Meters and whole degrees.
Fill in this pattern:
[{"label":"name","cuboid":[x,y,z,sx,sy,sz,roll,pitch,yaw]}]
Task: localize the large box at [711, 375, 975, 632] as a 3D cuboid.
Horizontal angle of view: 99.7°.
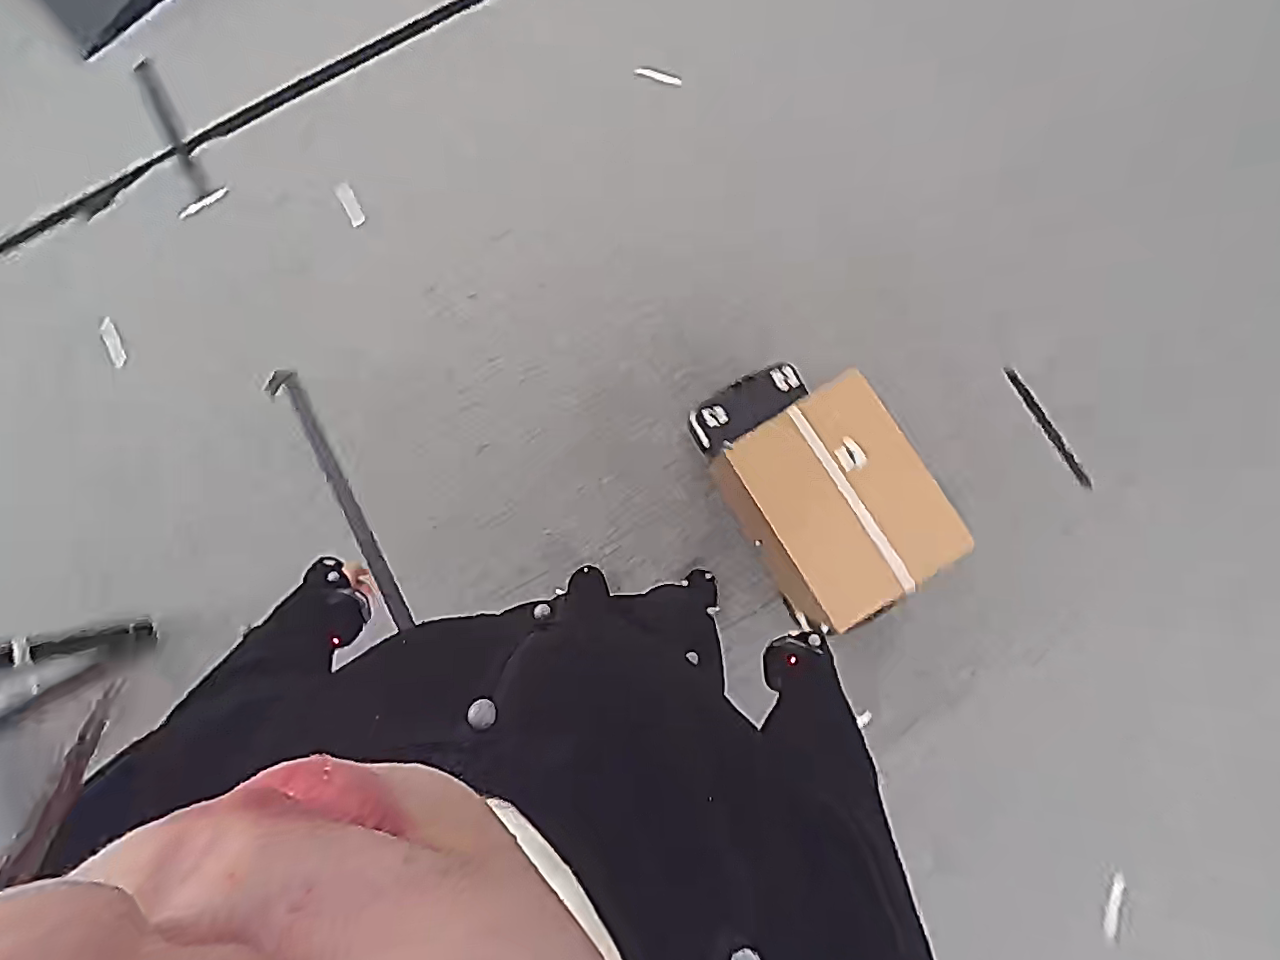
[{"label":"large box","cuboid":[0.397,0.056,1.163,0.320,0.320,0.408,-31,83,-3]}]
